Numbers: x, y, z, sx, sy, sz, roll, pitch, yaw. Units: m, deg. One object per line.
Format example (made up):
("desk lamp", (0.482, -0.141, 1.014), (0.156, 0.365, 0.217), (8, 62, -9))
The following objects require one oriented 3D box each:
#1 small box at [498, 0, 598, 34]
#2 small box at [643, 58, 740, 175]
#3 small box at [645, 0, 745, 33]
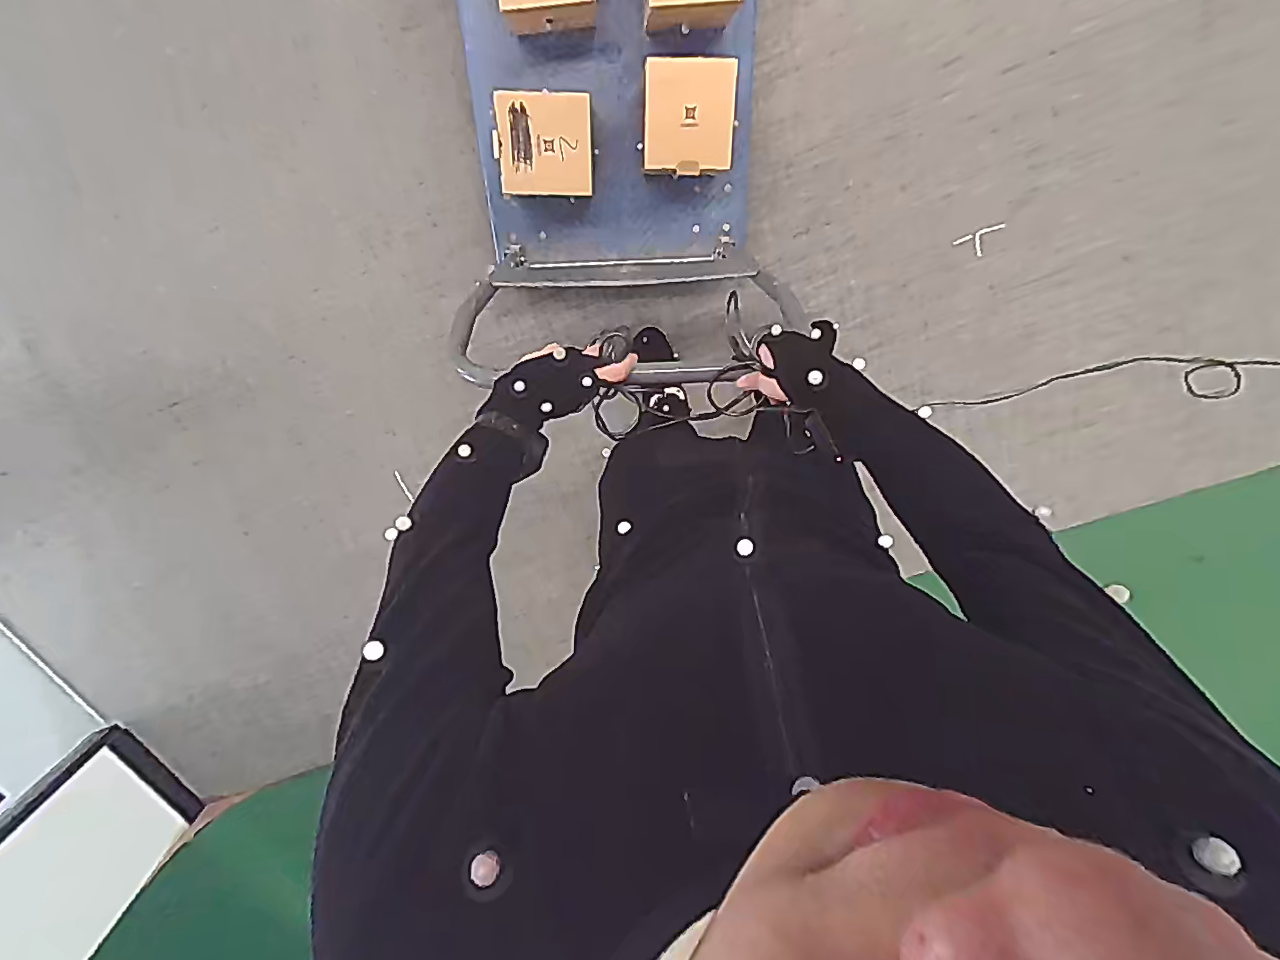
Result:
("small box", (-0.165, -0.908, 0.944), (0.168, 0.176, 0.179), (-6, 118, 0))
("small box", (0.092, -0.705, 1.065), (0.168, 0.176, 0.179), (-1, 119, -2))
("small box", (0.090, -0.919, 0.948), (0.168, 0.176, 0.179), (-4, 119, 1))
